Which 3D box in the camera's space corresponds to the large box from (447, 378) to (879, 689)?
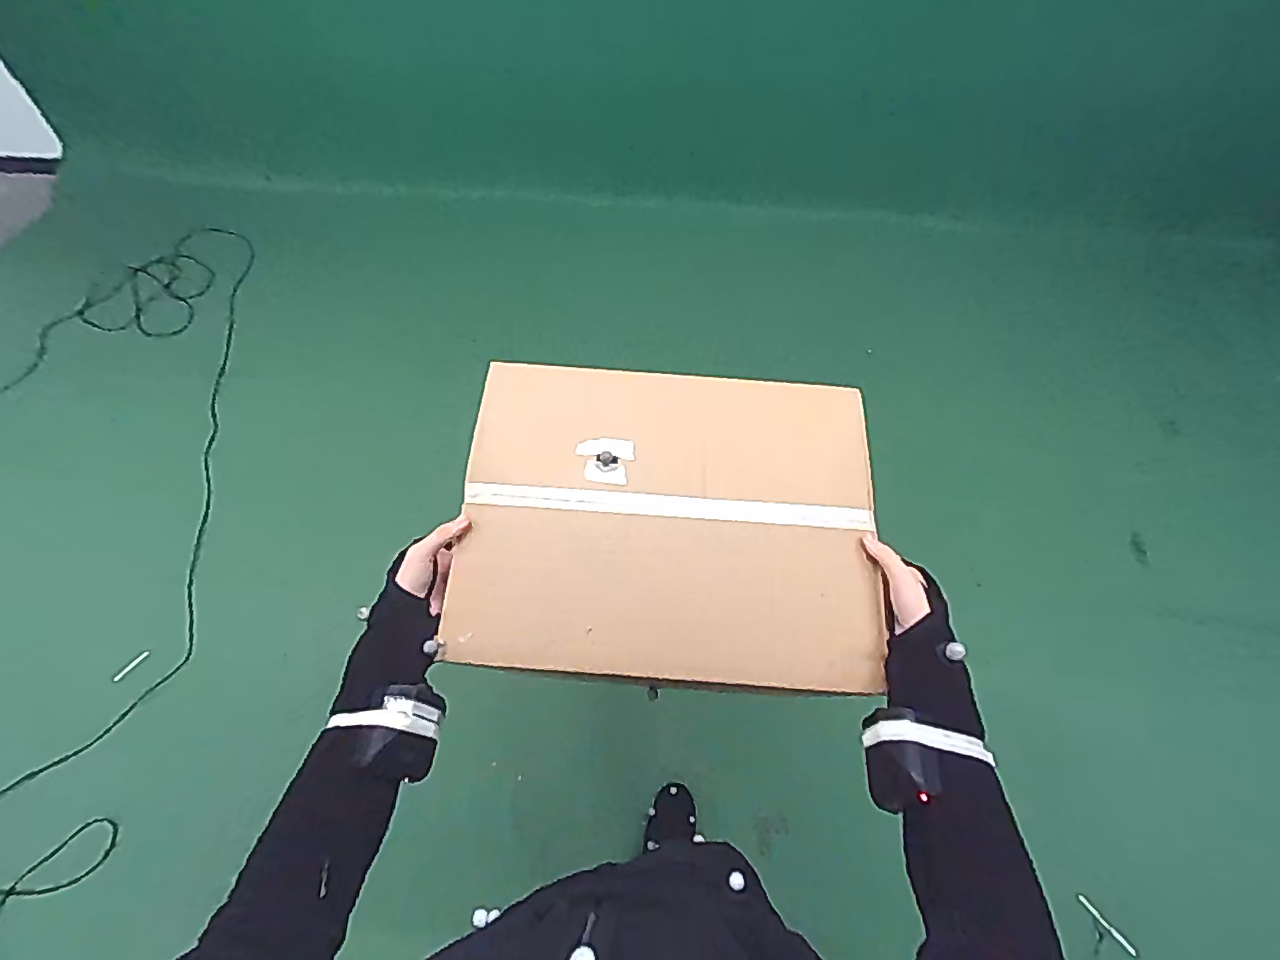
[{"bbox_3d":[0.028,0.091,0.685,0.408,0.320,0.320,4,67,1],"label":"large box"}]
